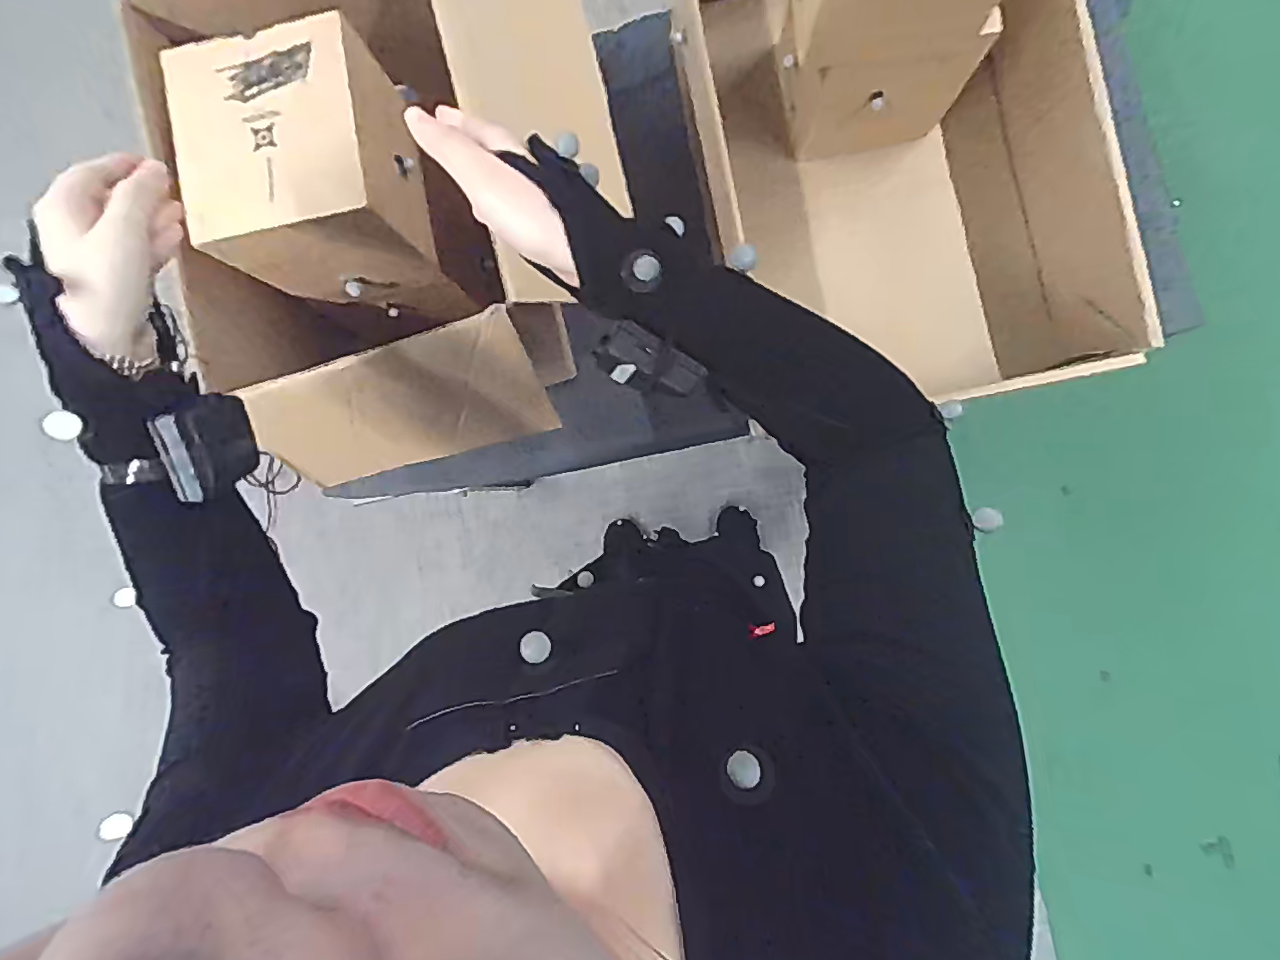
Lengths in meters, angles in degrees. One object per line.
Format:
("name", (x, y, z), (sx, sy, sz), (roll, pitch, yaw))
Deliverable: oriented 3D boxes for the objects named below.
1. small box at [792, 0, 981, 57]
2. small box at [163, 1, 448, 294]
("small box", (0.233, -0.519, 0.477), (0.179, 0.176, 0.168), (-4, 91, 4))
("small box", (-0.314, -0.311, 0.543), (0.168, 0.176, 0.179), (-10, 91, 4))
